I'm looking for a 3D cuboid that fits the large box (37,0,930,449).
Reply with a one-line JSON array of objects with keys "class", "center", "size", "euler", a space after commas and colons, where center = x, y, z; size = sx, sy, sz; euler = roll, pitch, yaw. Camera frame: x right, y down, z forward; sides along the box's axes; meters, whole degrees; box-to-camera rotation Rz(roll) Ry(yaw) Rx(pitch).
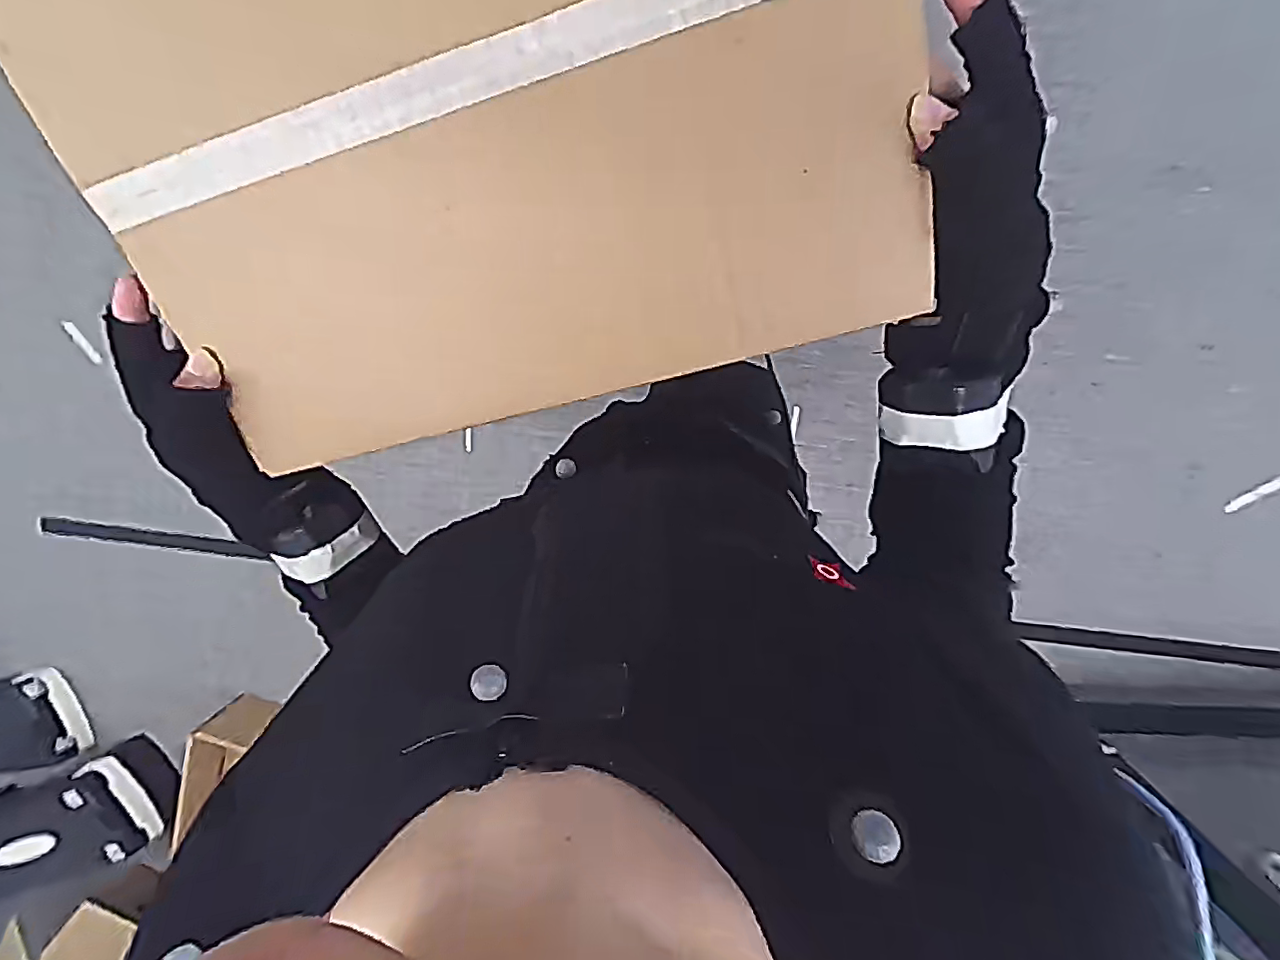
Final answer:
[{"class": "large box", "center": [-0.068, -0.257, 0.394], "size": [0.408, 0.320, 0.320], "euler": [-12, 115, 9]}]
